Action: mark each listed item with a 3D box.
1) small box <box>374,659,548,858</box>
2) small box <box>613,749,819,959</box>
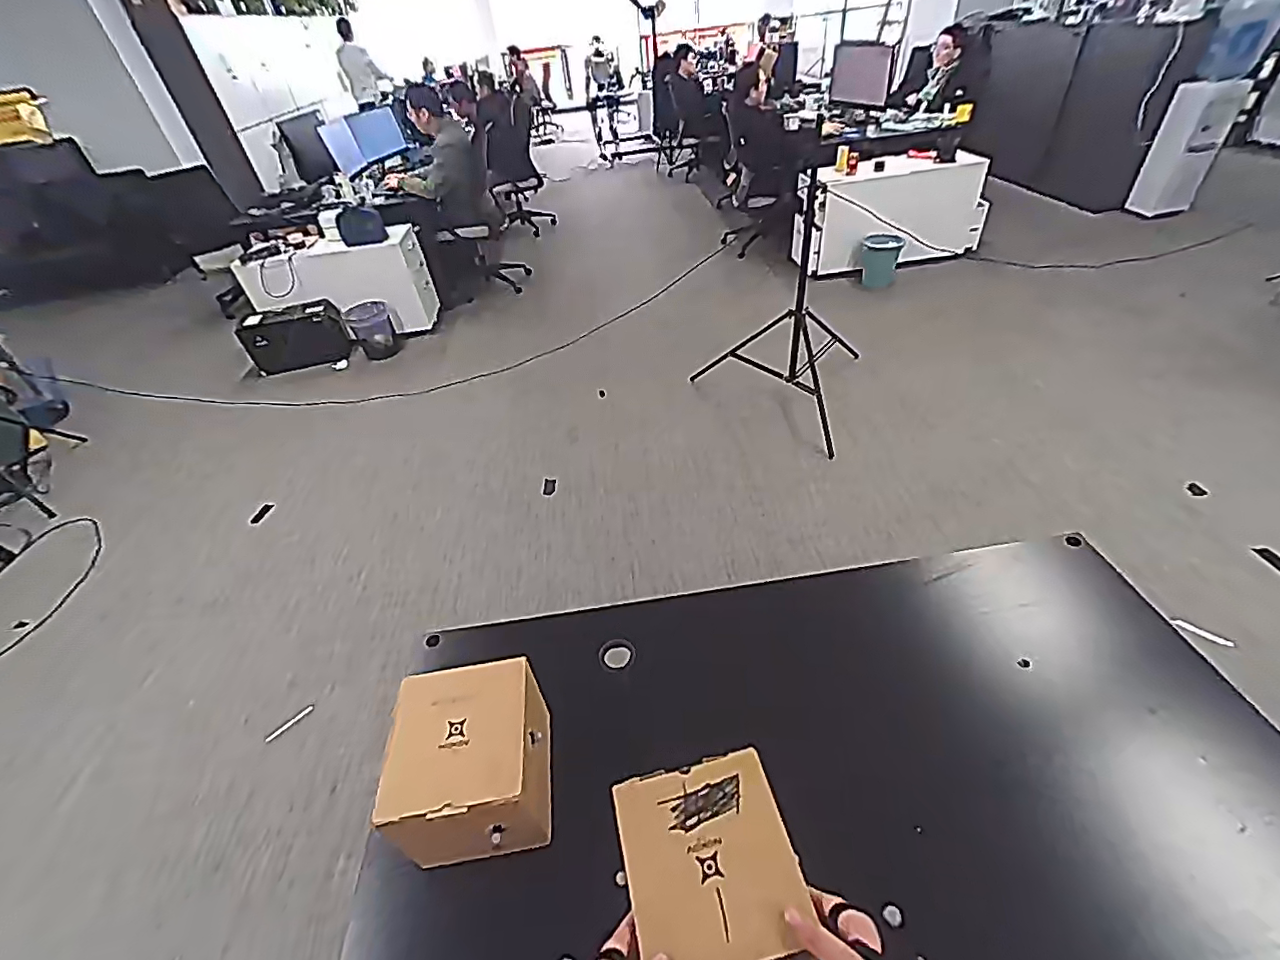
[{"bbox_3d":[-0.216,0.367,0.707,0.168,0.176,0.179,-9,40,-4],"label":"small box"},{"bbox_3d":[0.071,0.432,0.589,0.168,0.176,0.179,-12,42,-6],"label":"small box"}]
